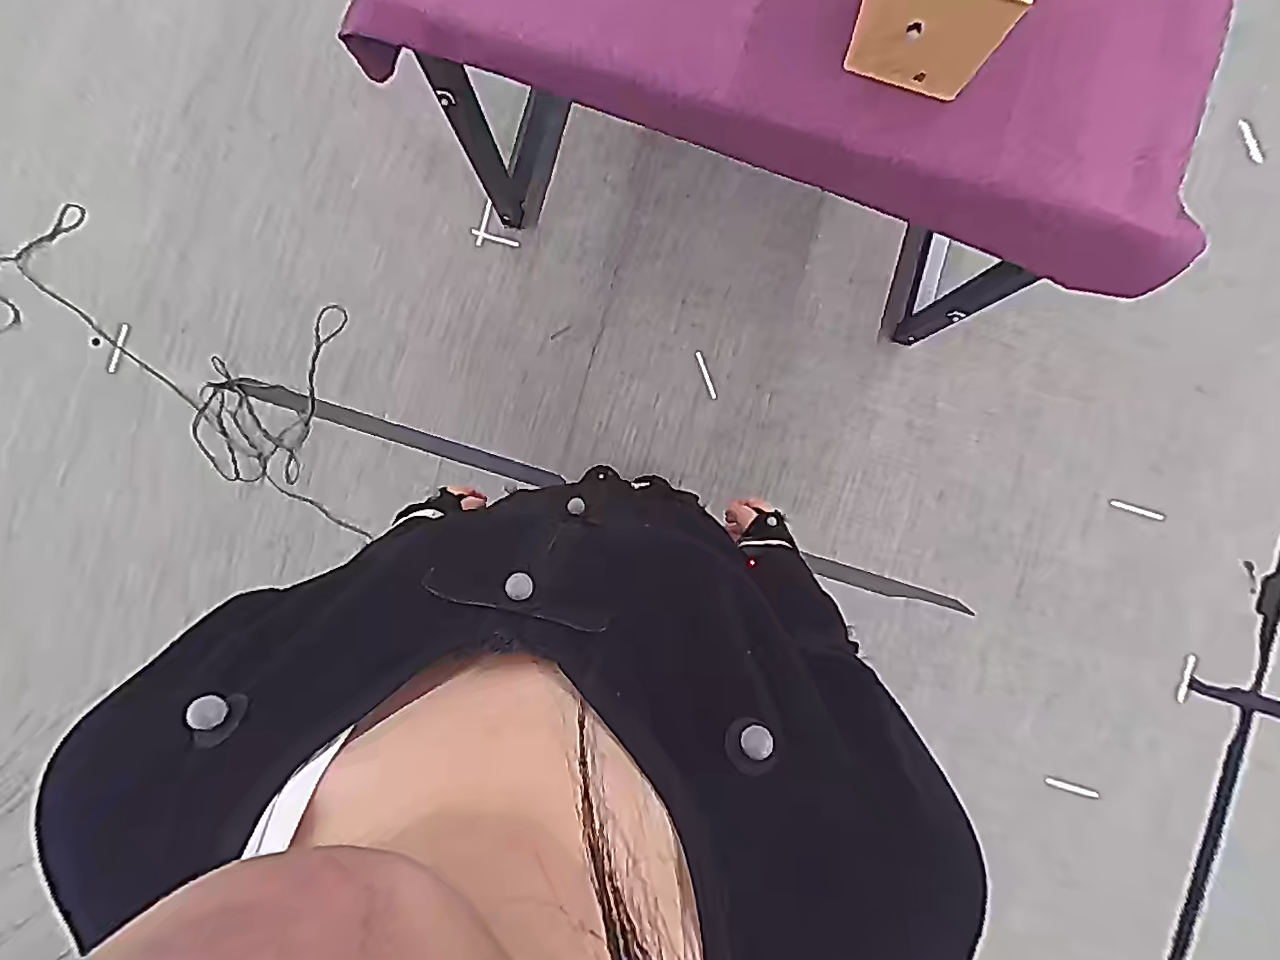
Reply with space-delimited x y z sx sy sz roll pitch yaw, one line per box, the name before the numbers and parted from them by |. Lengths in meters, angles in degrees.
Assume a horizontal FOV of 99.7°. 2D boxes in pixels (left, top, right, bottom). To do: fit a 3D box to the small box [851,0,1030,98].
small box | 0.398 -0.651 0.705 0.168 0.176 0.179 17 89 0
